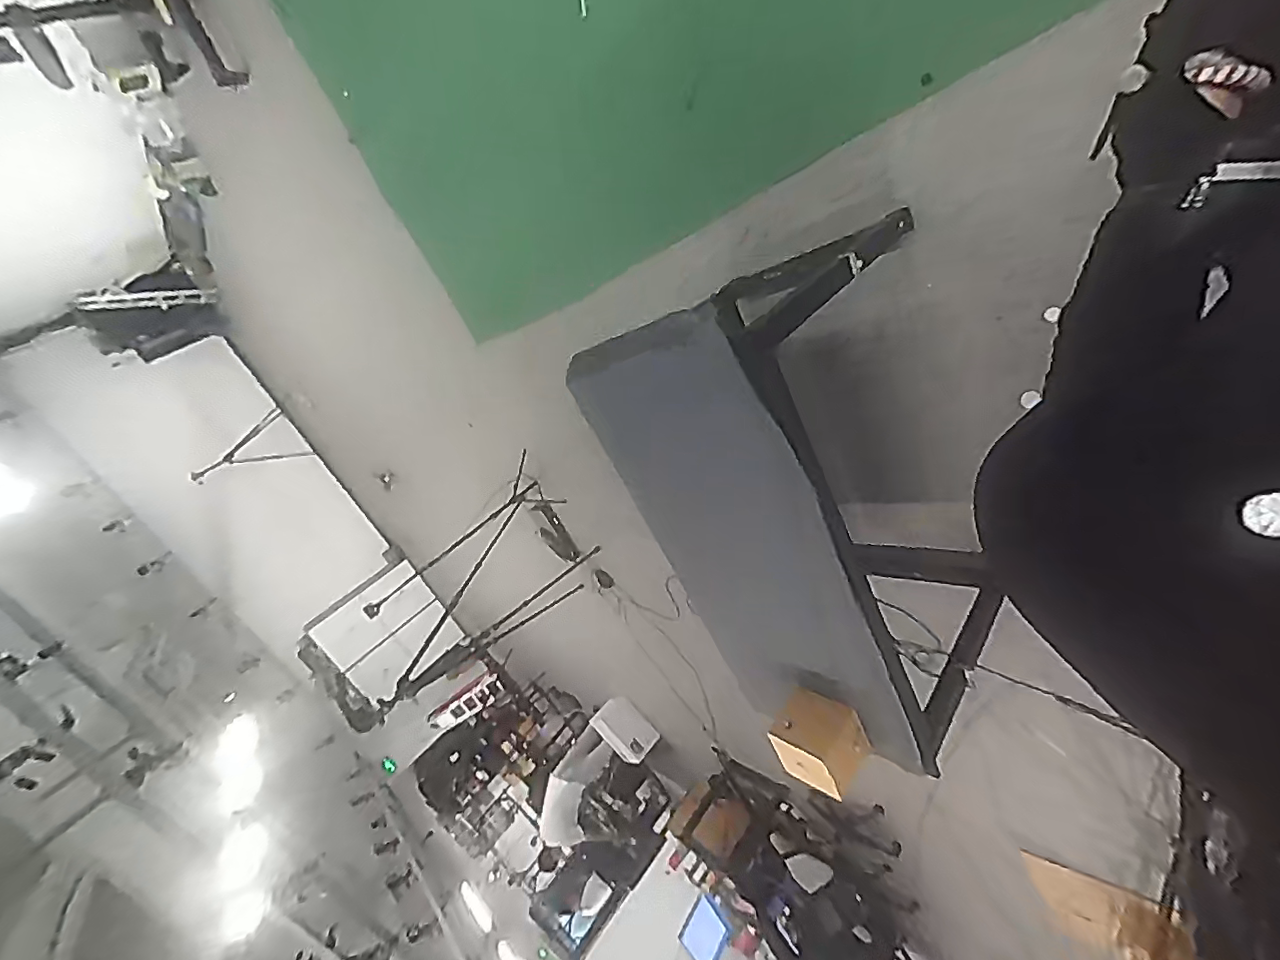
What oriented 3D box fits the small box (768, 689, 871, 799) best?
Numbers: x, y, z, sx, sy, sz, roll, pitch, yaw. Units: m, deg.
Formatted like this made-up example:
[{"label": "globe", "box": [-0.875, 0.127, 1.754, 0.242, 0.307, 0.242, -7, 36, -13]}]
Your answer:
[{"label": "small box", "box": [0.477, 0.687, 1.430, 0.179, 0.176, 0.168, 3, 126, 52]}]
